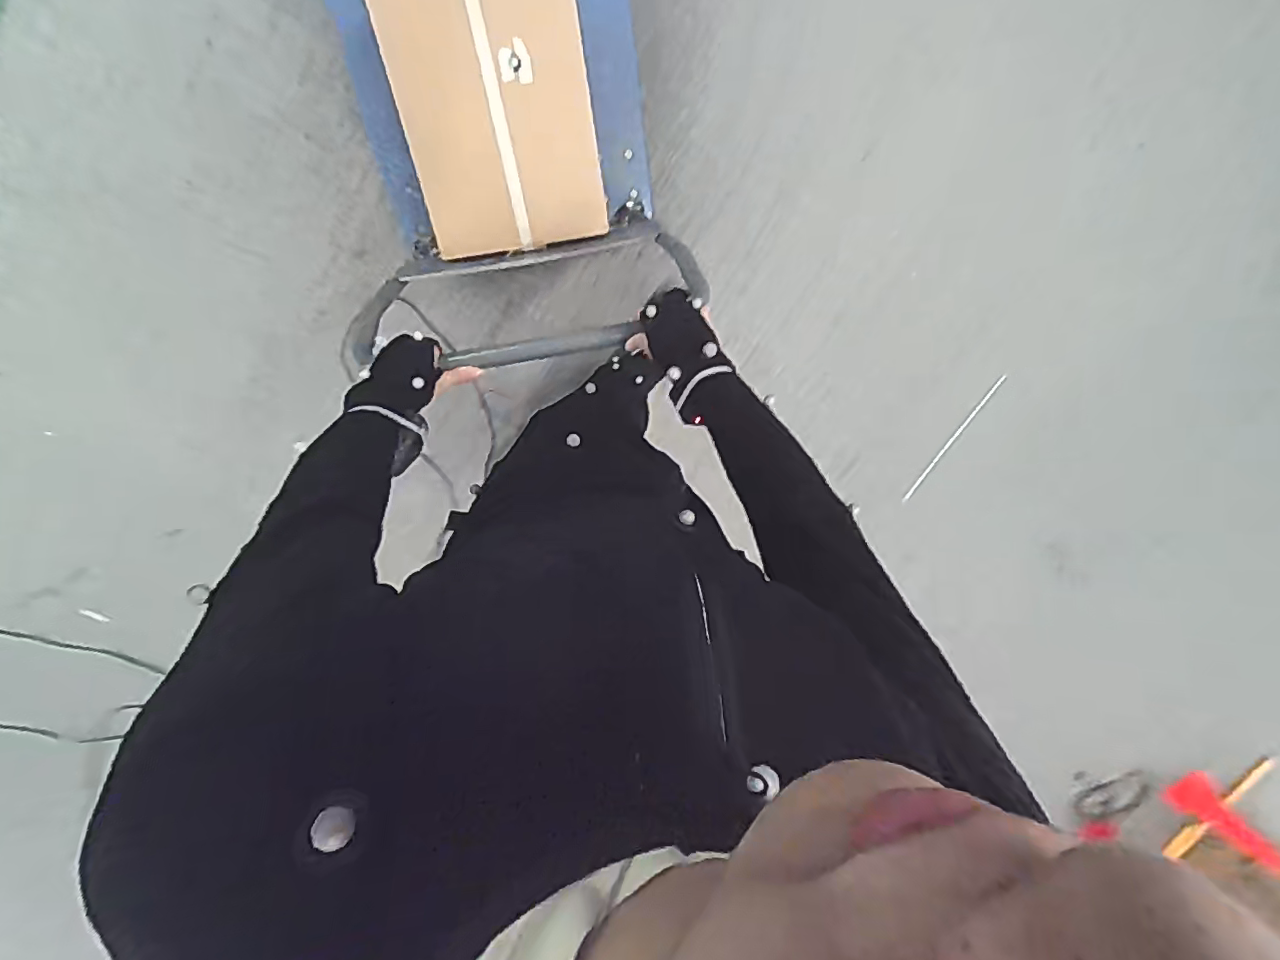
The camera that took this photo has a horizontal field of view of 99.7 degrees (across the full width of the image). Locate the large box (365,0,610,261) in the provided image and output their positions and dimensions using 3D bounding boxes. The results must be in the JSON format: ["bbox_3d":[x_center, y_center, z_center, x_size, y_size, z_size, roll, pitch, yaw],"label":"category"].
[{"bbox_3d":[-0.252,-0.668,1.027,0.320,0.320,0.408,-11,119,-3],"label":"large box"}]
